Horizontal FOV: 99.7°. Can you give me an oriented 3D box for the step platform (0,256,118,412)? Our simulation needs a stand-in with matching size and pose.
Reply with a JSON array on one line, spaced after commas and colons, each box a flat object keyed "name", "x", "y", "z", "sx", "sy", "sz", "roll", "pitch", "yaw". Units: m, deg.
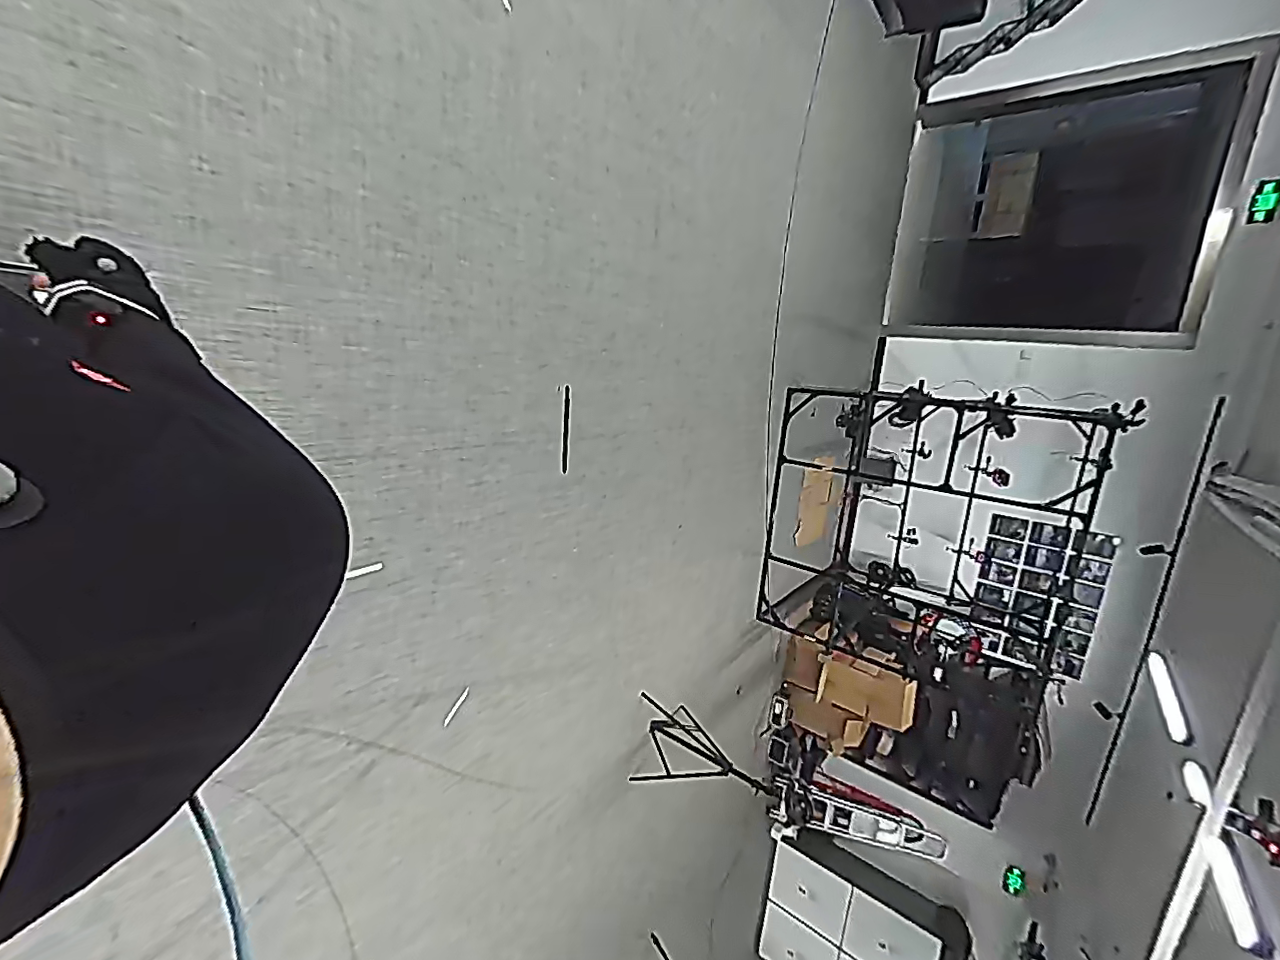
[{"name": "step platform", "x": -1.327, "y": -0.253, "z": 0.880, "sx": 0.684, "sy": 0.204, "sz": 0.286, "roll": -14, "pitch": 113, "yaw": -52}]
